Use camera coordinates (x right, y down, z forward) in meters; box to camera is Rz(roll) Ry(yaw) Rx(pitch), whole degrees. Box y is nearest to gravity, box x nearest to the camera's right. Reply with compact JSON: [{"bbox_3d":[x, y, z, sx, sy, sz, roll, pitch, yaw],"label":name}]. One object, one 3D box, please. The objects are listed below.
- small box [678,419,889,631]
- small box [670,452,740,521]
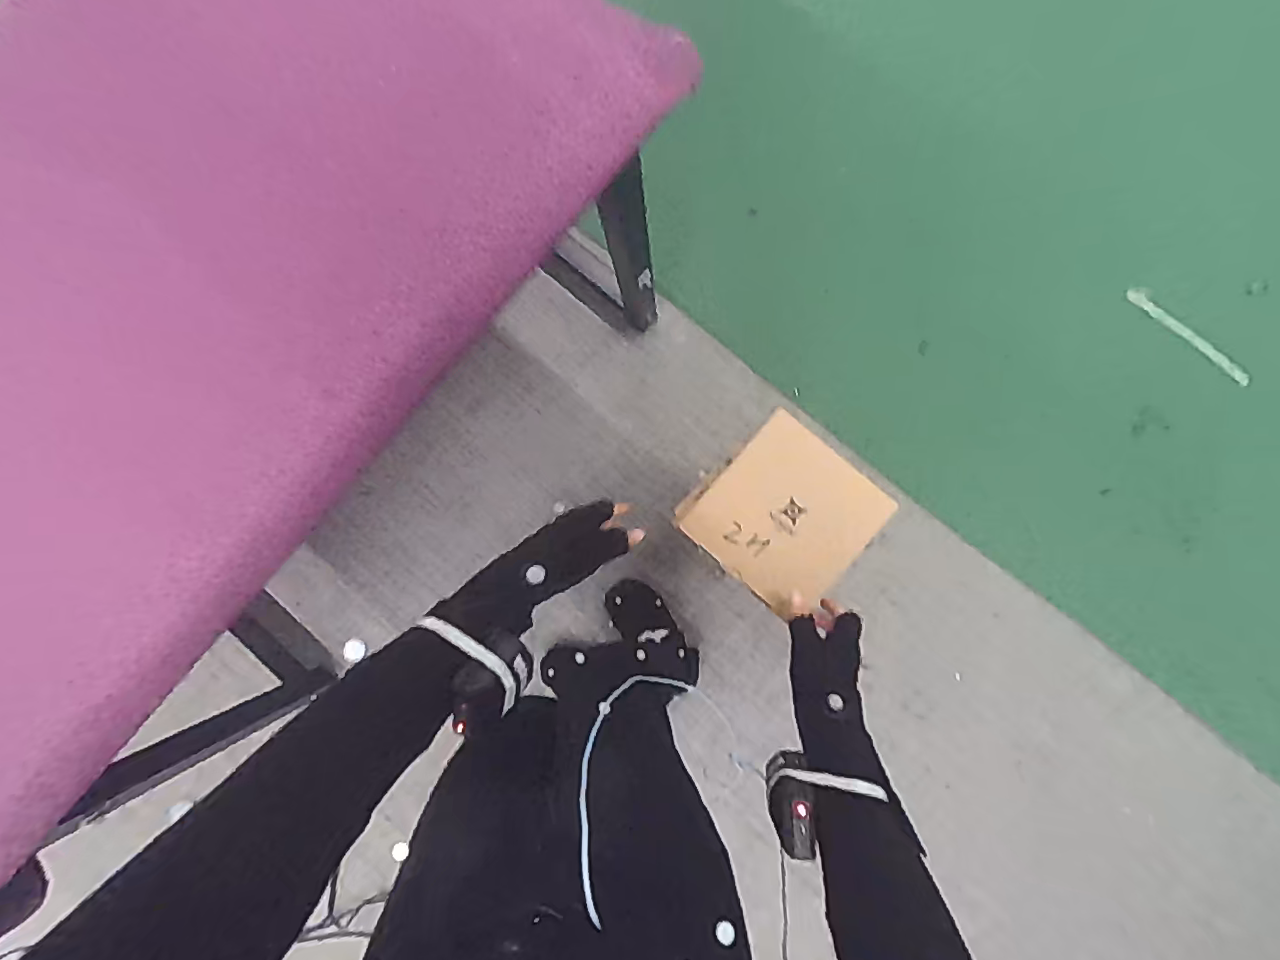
[{"bbox_3d":[0.160,0.051,0.670,0.168,0.176,0.179,42,91,5],"label":"small box"},{"bbox_3d":[0.173,0.069,0.996,0.168,0.176,0.179,-44,85,0],"label":"small box"}]
